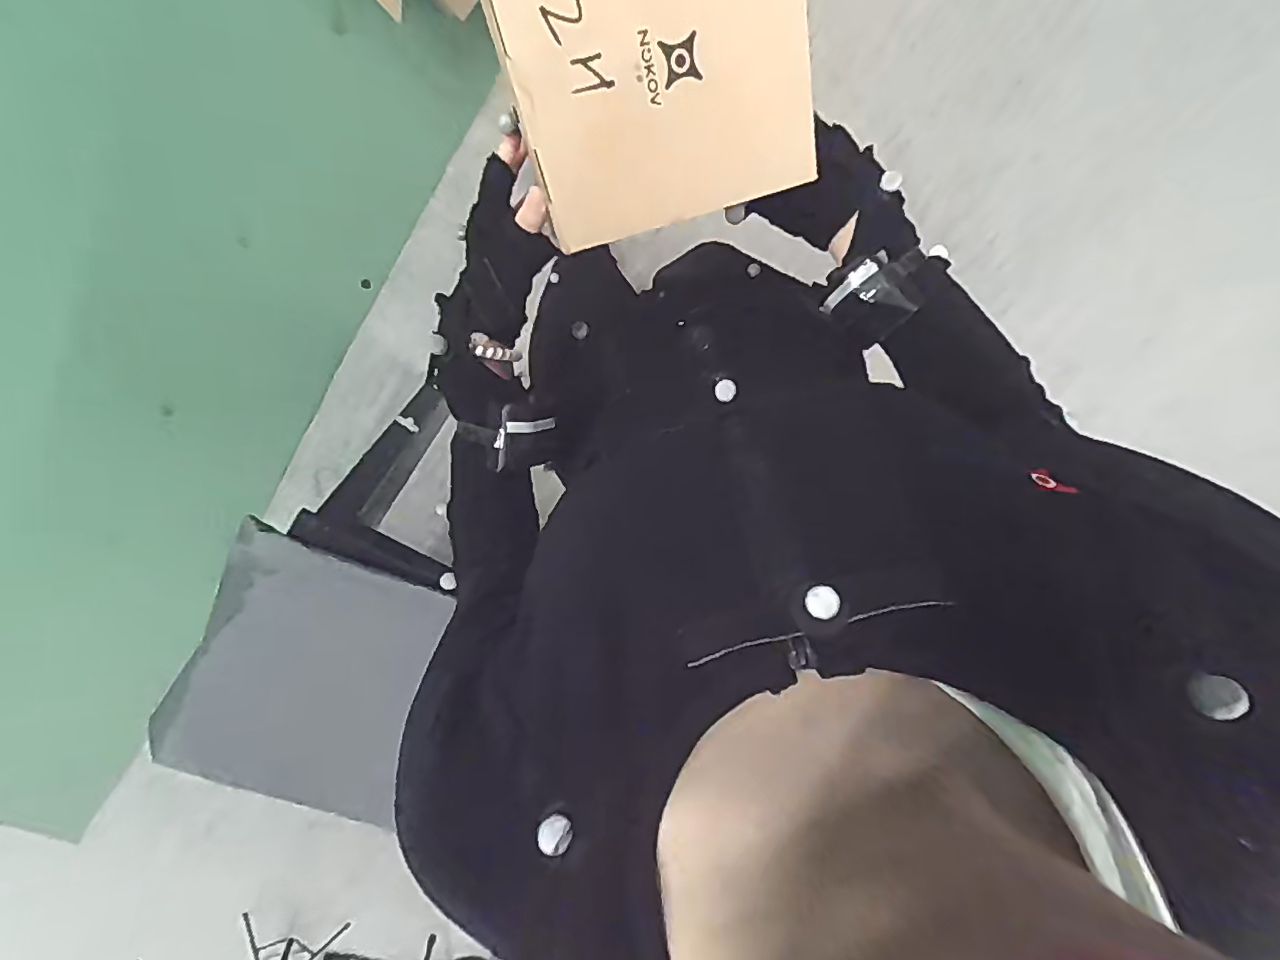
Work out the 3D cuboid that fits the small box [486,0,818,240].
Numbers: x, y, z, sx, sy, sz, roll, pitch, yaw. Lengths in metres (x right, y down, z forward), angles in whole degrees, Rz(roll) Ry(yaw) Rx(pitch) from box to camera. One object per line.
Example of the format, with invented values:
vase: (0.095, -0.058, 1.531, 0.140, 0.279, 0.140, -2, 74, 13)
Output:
small box: (0.000, -0.281, 0.371, 0.179, 0.176, 0.168, -17, 121, -2)
